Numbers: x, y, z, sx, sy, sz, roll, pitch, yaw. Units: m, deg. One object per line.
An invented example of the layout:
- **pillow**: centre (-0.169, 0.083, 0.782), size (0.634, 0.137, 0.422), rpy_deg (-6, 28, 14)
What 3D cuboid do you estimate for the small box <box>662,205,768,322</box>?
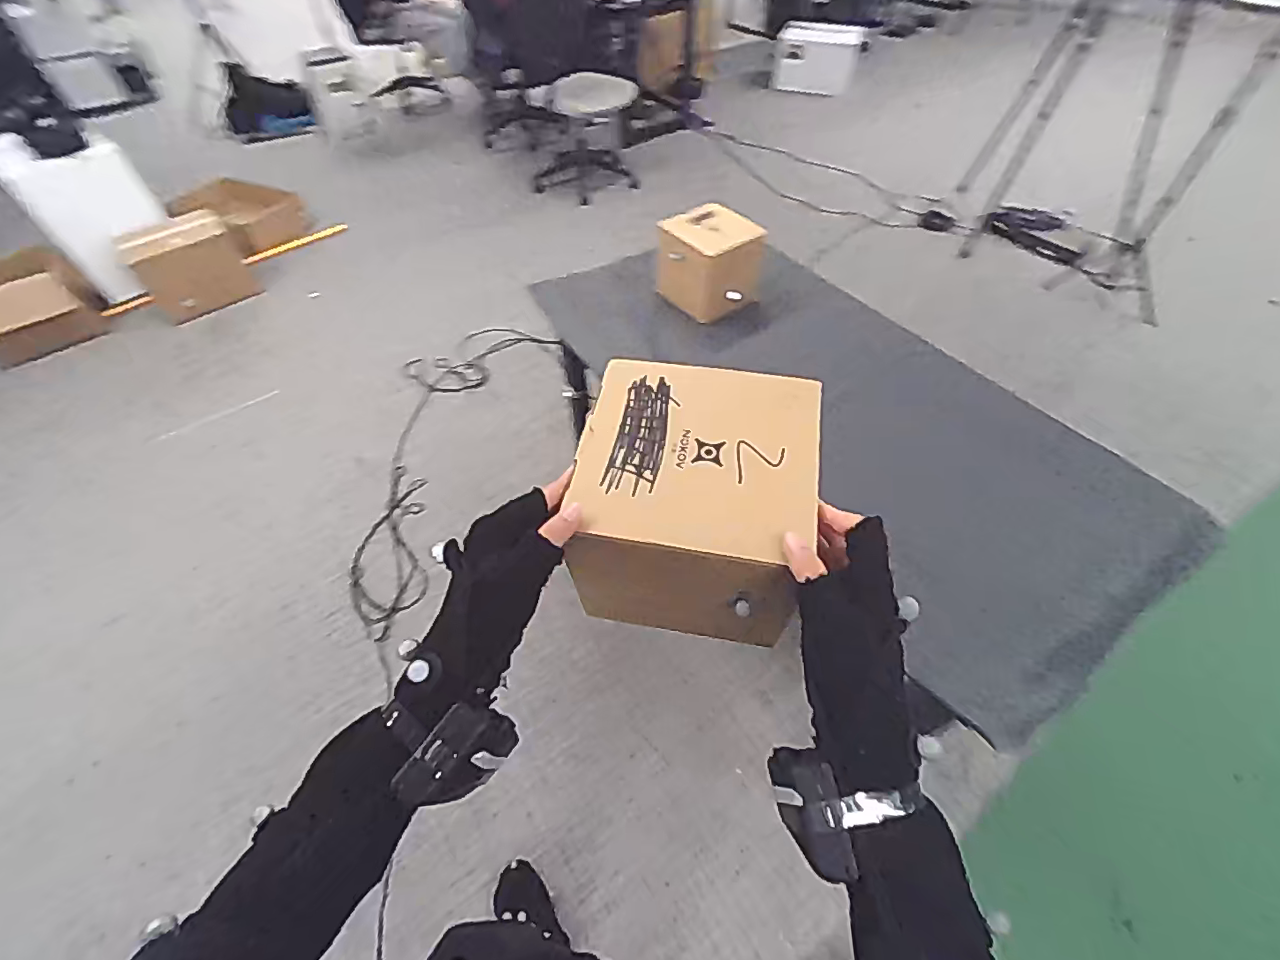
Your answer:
- **small box**: centre (0.161, -0.490, 1.229), size (0.168, 0.176, 0.179), rpy_deg (-31, 57, -21)
